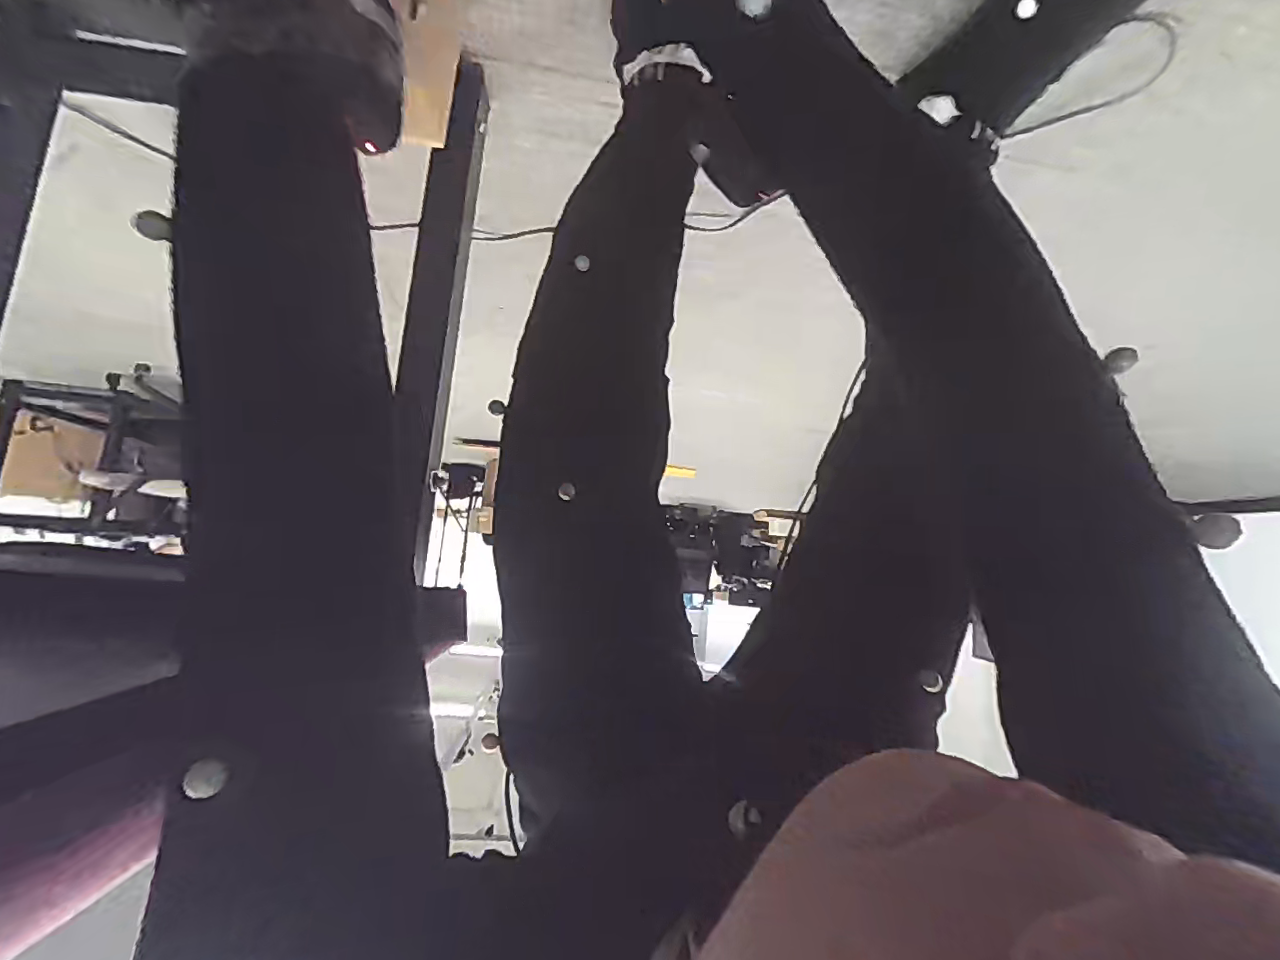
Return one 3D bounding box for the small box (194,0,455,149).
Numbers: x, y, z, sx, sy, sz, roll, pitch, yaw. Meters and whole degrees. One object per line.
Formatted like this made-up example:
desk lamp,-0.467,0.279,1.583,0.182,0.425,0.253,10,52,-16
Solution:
small box,-0.286,-0.464,0.514,0.168,0.176,0.179,6,172,-5
